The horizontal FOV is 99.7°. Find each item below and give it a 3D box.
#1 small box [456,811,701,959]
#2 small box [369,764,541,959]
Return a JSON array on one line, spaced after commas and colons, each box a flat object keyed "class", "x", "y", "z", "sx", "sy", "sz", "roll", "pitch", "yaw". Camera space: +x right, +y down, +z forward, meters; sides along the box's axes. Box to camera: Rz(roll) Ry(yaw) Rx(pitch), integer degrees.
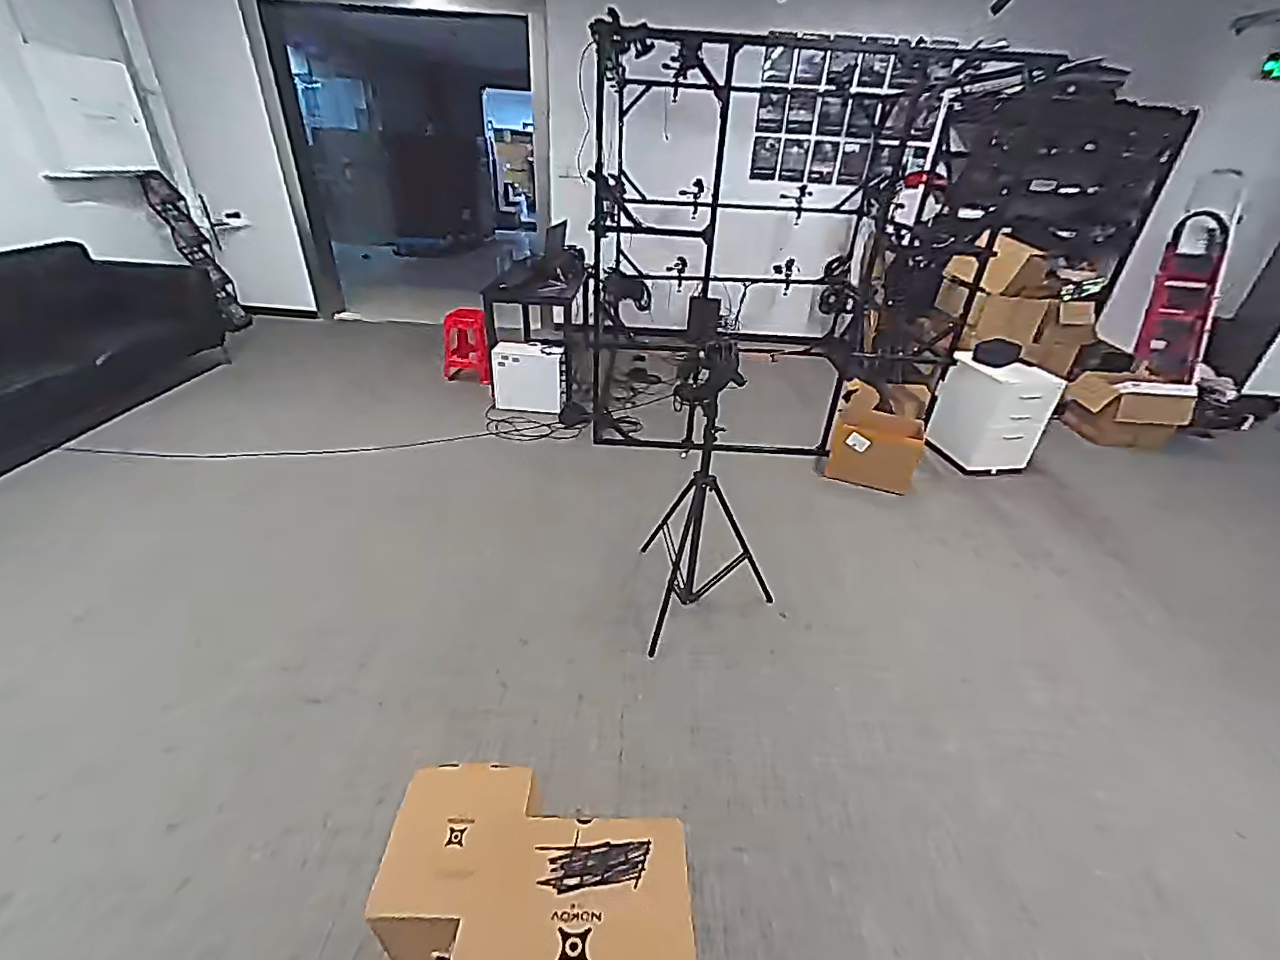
[{"class": "small box", "x": -0.046, "y": 0.387, "z": 0.404, "sx": 0.168, "sy": 0.176, "sz": 0.179, "roll": 2, "pitch": 21, "yaw": -3}, {"class": "small box", "x": -0.226, "y": 0.509, "z": 0.720, "sx": 0.168, "sy": 0.176, "sz": 0.179, "roll": 0, "pitch": 34, "yaw": 0}]
